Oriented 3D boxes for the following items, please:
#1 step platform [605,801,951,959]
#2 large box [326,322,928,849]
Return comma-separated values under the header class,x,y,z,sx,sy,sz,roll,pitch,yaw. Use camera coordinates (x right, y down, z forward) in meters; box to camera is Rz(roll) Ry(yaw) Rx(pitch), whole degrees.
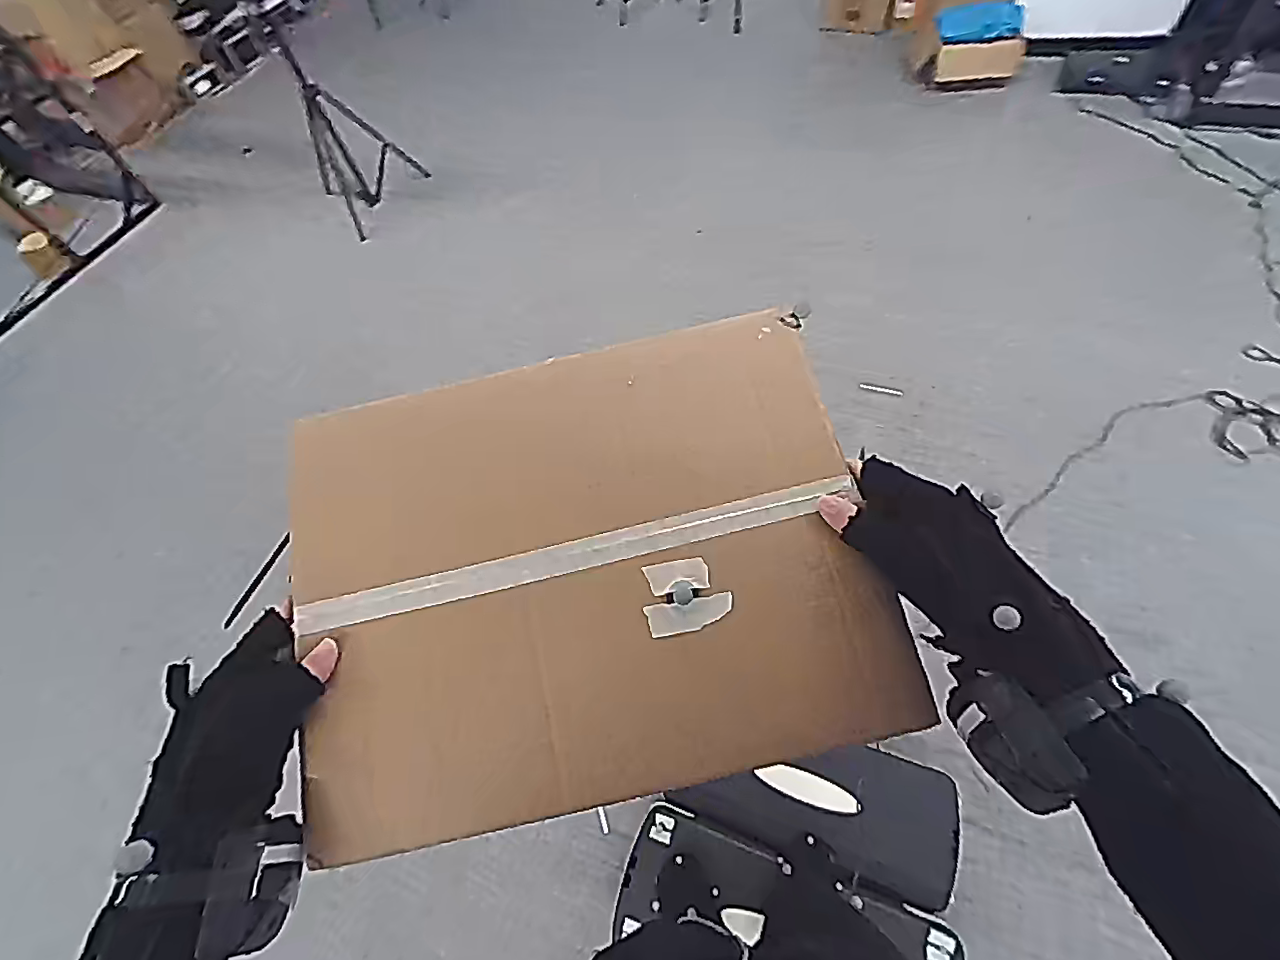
class,x,y,z,sx,sy,sz,roll,pitch,yaw
step platform,0.273,0.955,1.149,0.684,0.204,0.286,12,61,18
large box,-0.025,0.101,0.539,0.408,0.320,0.320,-13,73,0
